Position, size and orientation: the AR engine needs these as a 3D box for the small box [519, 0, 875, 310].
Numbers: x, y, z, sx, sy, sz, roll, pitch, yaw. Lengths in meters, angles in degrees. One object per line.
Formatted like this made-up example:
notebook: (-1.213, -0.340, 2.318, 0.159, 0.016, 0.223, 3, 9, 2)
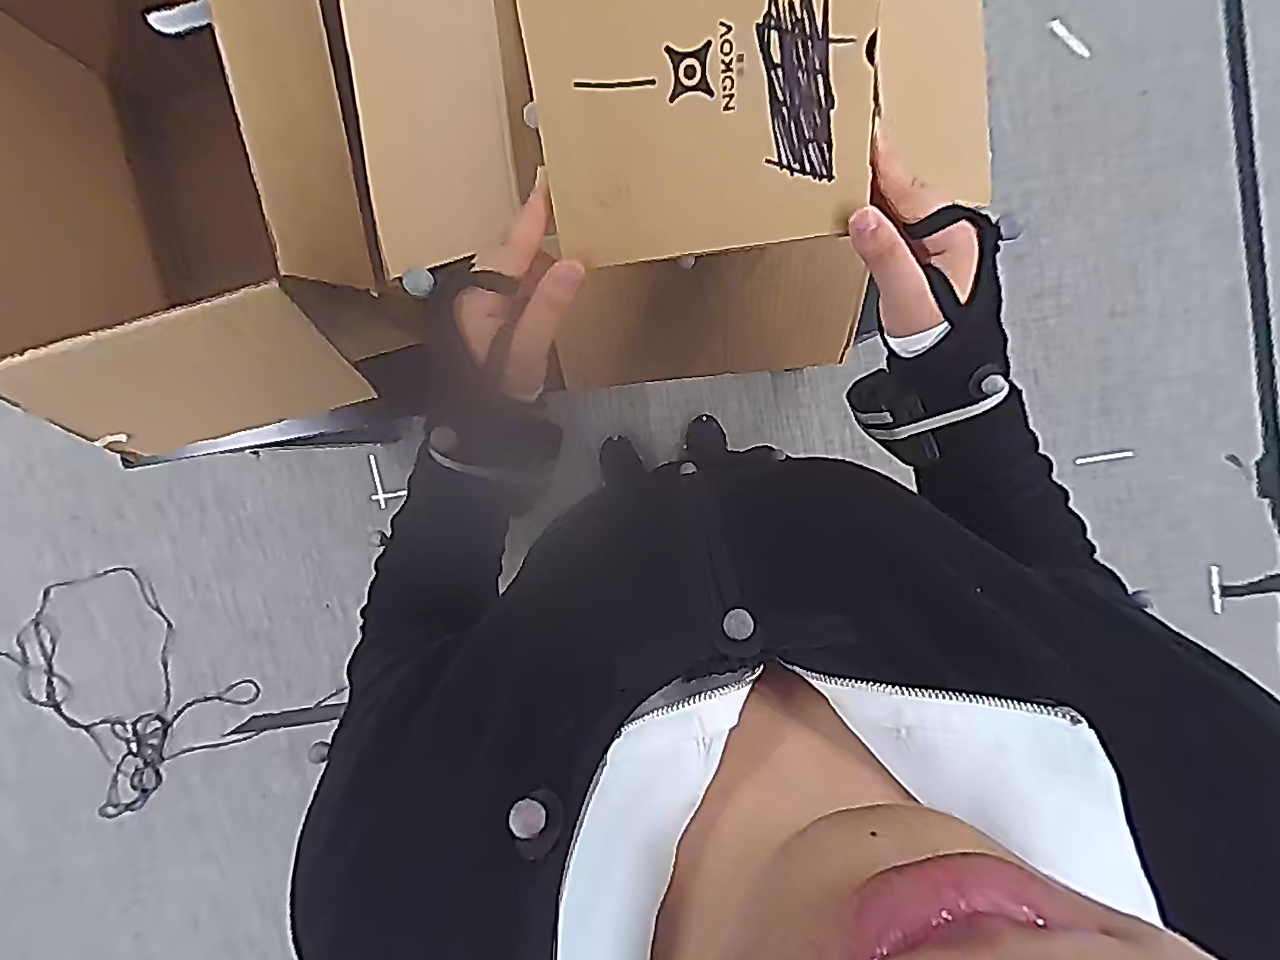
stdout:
small box: (0.030, -0.221, 0.358, 0.179, 0.176, 0.168, -7, 118, 1)
